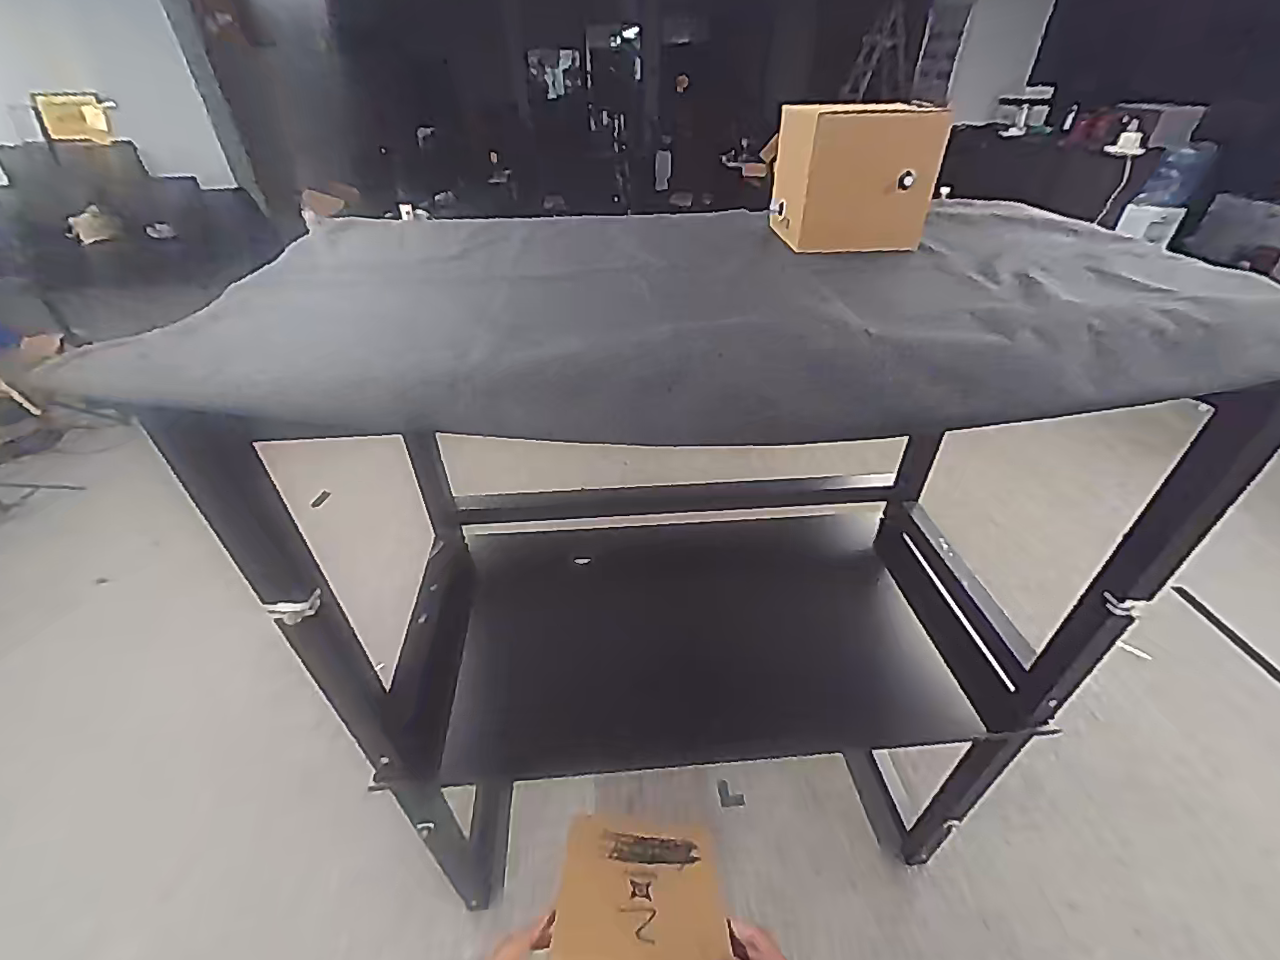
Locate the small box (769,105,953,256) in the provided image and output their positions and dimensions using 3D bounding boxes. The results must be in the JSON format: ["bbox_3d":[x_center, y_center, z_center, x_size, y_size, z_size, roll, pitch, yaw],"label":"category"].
[{"bbox_3d":[0.297,-0.428,0.772,0.179,0.176,0.168,-2,36,-2],"label":"small box"}]
